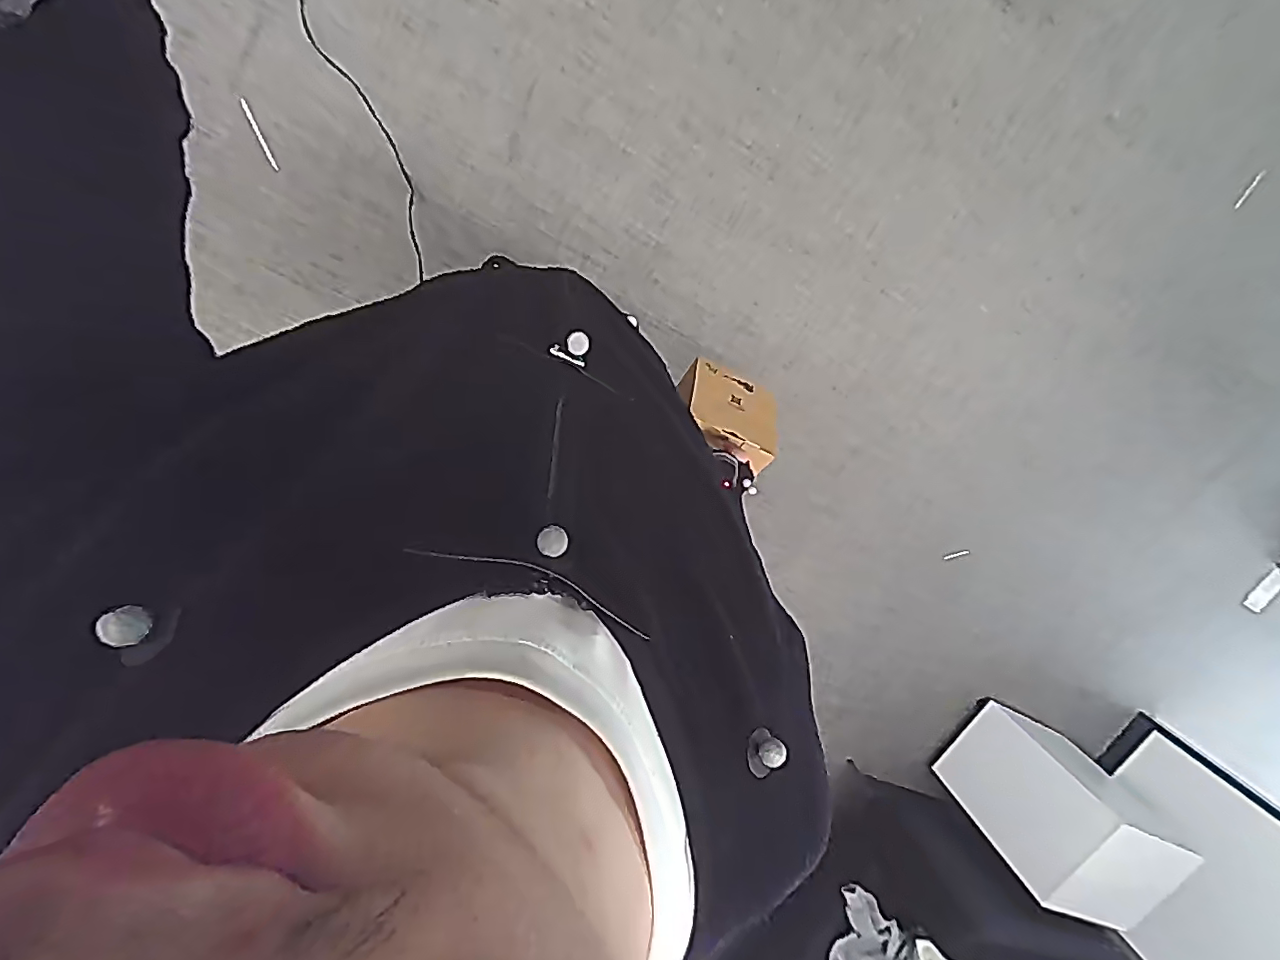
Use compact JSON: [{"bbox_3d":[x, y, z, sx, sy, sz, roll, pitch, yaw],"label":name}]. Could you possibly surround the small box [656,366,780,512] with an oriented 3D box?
[{"bbox_3d":[0.138,-0.069,0.991,0.168,0.179,0.176,21,135,-12],"label":"small box"}]
